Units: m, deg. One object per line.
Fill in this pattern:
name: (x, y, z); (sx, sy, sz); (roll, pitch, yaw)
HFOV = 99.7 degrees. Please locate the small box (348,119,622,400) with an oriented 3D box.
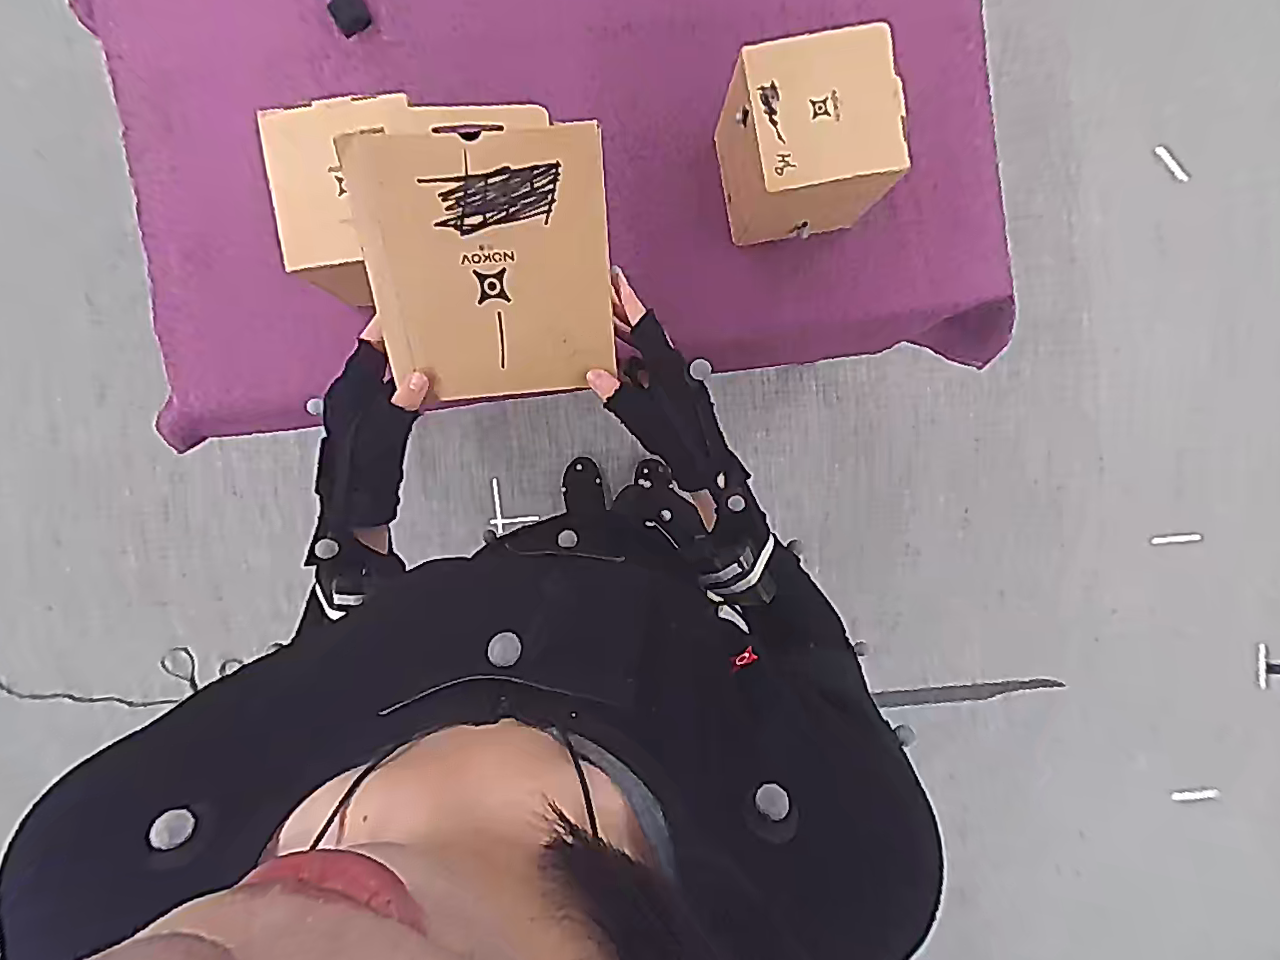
small box: (-0.109, -0.176, 0.447); (0.168, 0.176, 0.179); (-6, 113, -6)

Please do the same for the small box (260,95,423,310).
small box: (-0.324, -0.330, 0.675); (0.168, 0.176, 0.179); (-10, 93, -2)

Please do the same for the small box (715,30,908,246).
small box: (0.209, -0.426, 0.700); (0.179, 0.176, 0.168); (-11, 93, -3)
